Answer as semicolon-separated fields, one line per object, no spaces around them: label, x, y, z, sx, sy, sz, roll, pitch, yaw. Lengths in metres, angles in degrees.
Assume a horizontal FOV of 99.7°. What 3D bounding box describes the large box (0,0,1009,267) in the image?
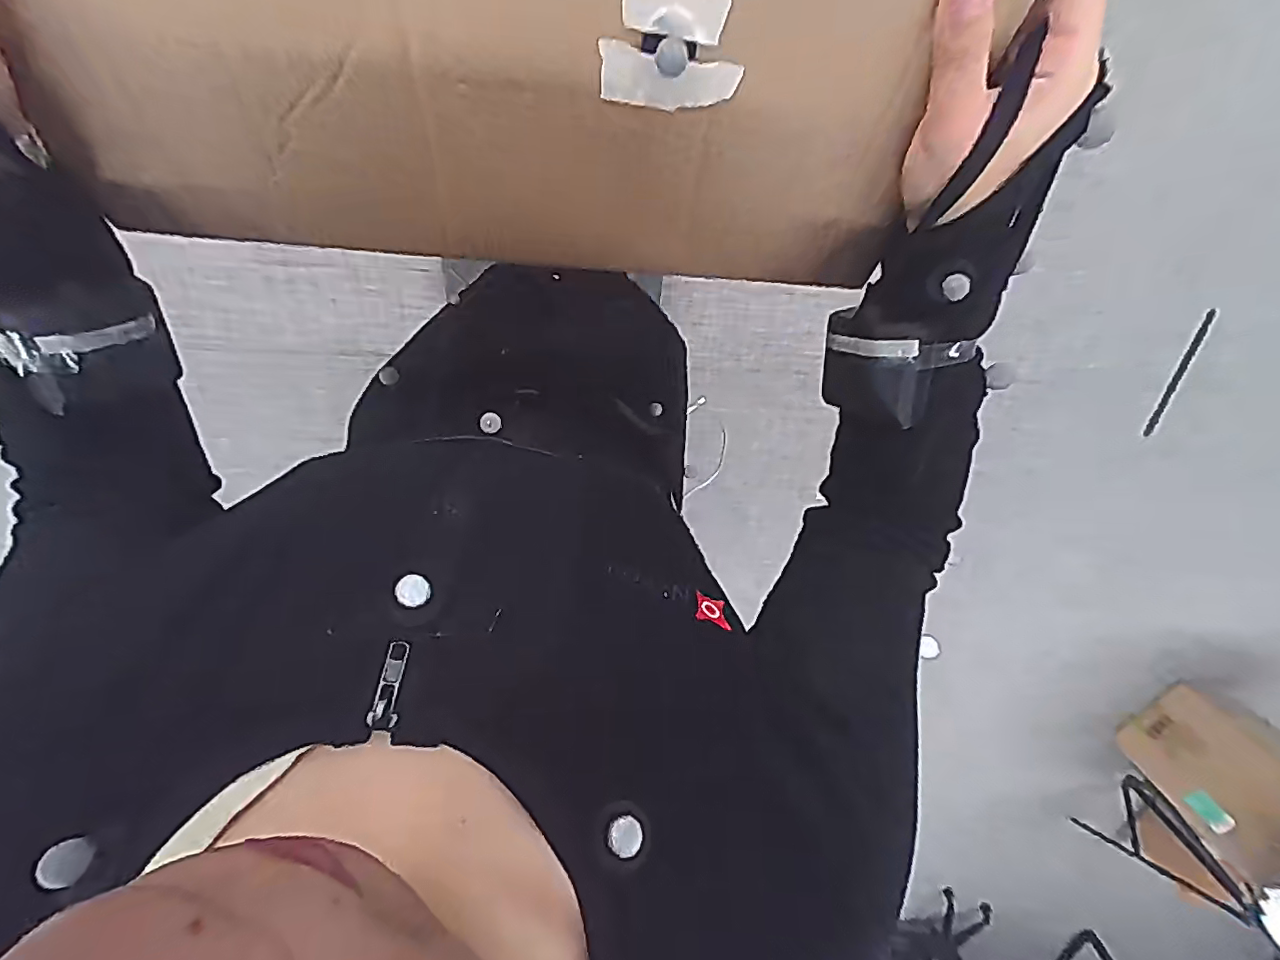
large box;-0.054;-0.336;0.253;0.408;0.320;0.320;1;151;-8
